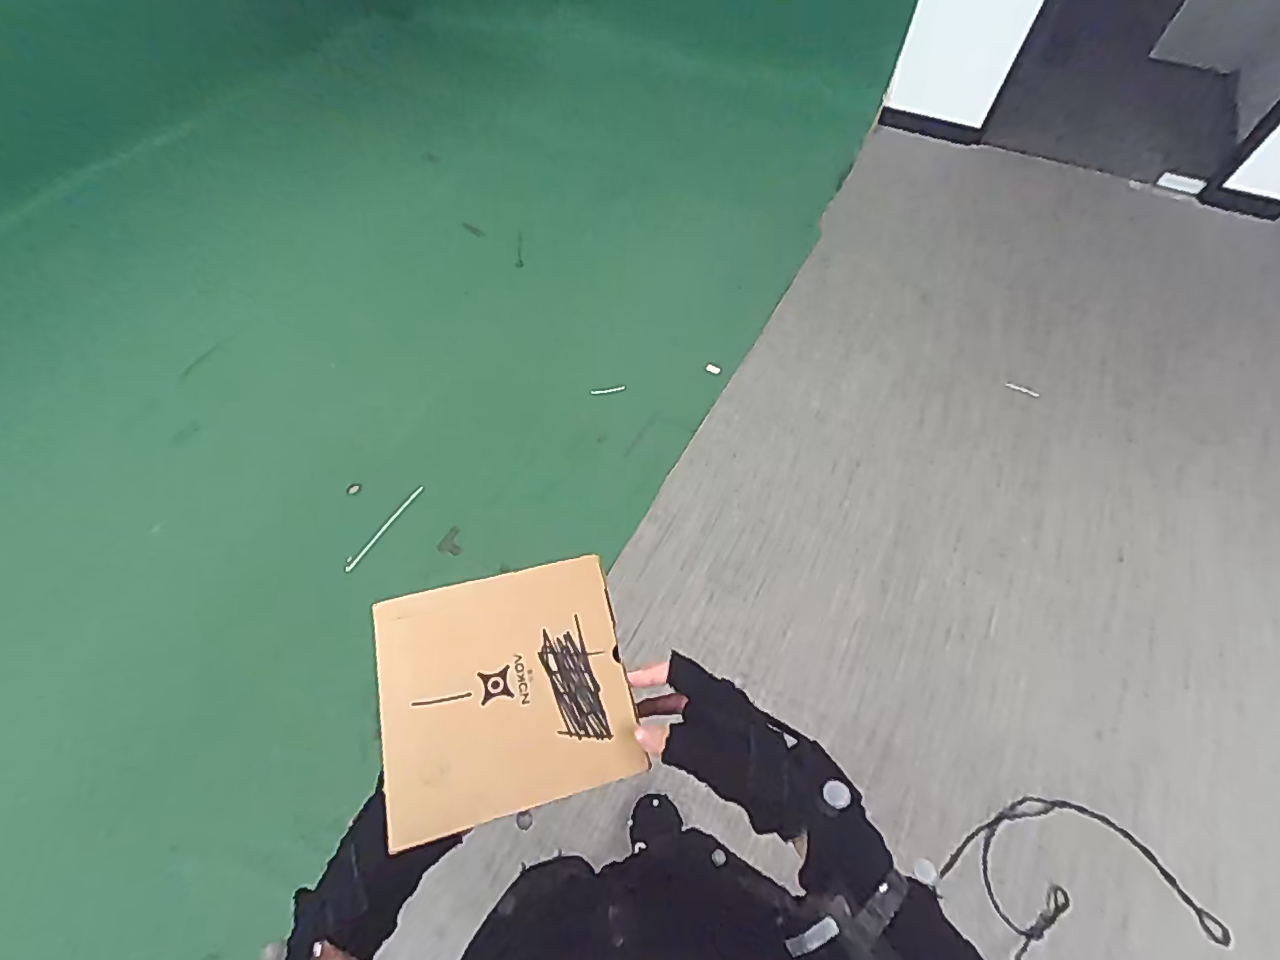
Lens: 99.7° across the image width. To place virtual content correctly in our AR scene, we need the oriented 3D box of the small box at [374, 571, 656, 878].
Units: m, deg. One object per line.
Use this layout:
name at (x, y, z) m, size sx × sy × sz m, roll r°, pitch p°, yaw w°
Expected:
small box at (-0.103, 0.193, 0.451) m, size 0.179 × 0.176 × 0.168 m, roll -11°, pitch 65°, yaw -14°
